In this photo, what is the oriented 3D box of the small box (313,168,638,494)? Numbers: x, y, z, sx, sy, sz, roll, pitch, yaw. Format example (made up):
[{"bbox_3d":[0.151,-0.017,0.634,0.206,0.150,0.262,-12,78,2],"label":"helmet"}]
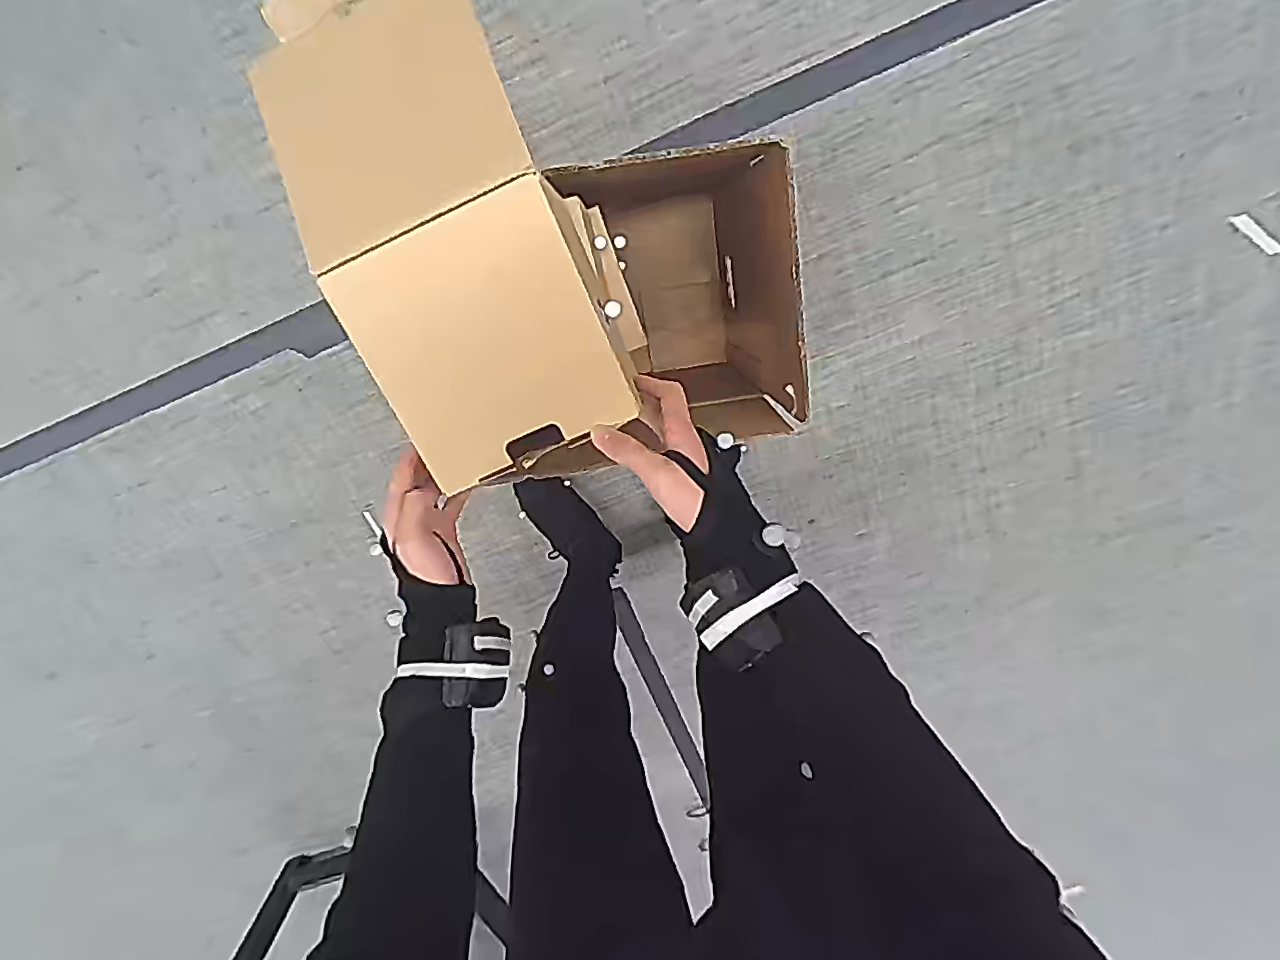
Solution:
[{"bbox_3d":[-0.106,-0.119,0.442,0.168,0.176,0.179,-22,109,7],"label":"small box"}]
